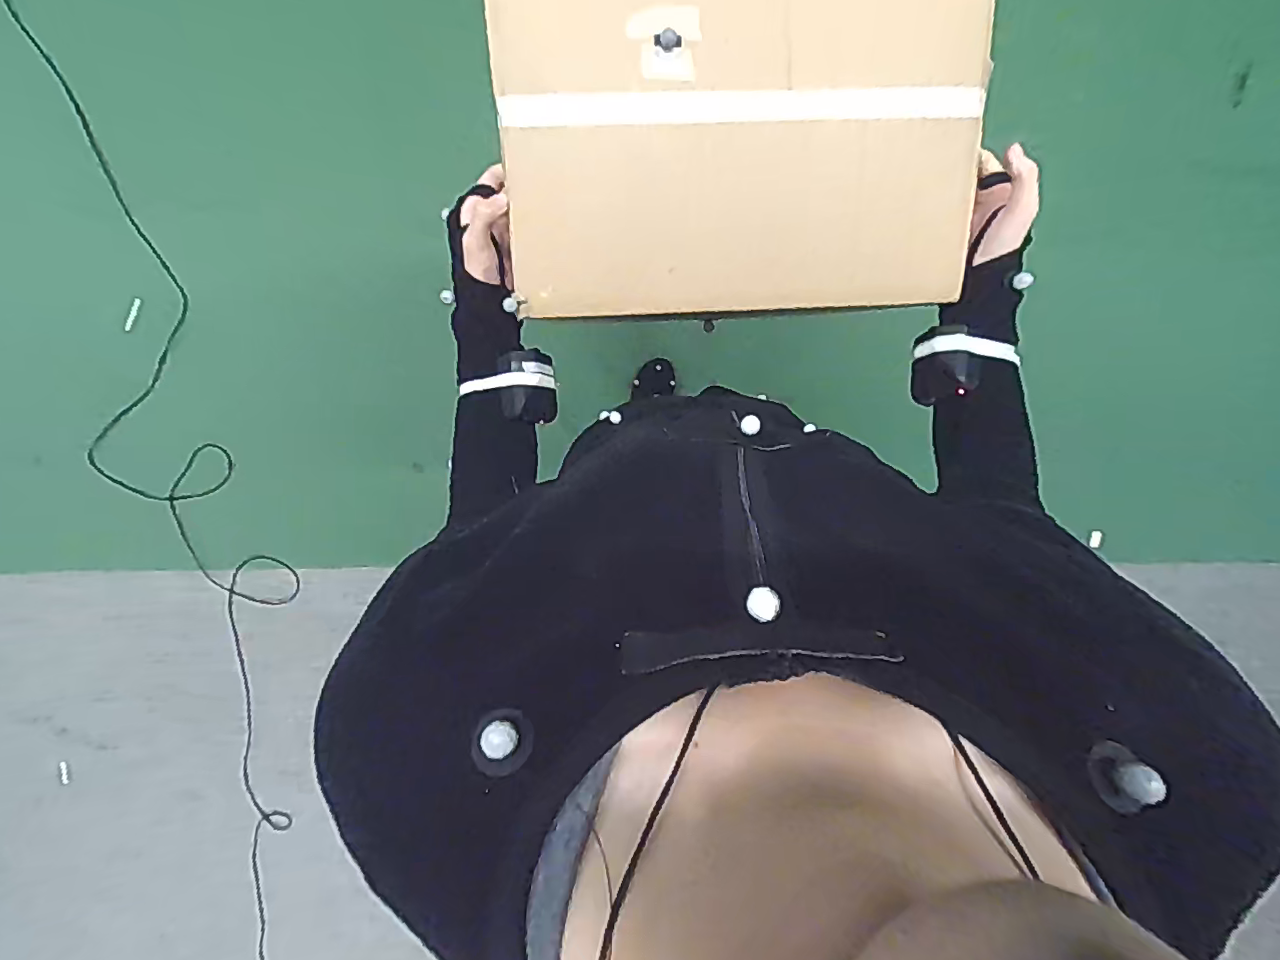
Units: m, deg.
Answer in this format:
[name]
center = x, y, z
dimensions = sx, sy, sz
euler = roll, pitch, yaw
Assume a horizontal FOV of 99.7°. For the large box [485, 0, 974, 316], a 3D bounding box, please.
[large box]
center = 0.072, -0.352, 0.599
dimensions = 0.408, 0.320, 0.320
euler = -3, 105, -3
